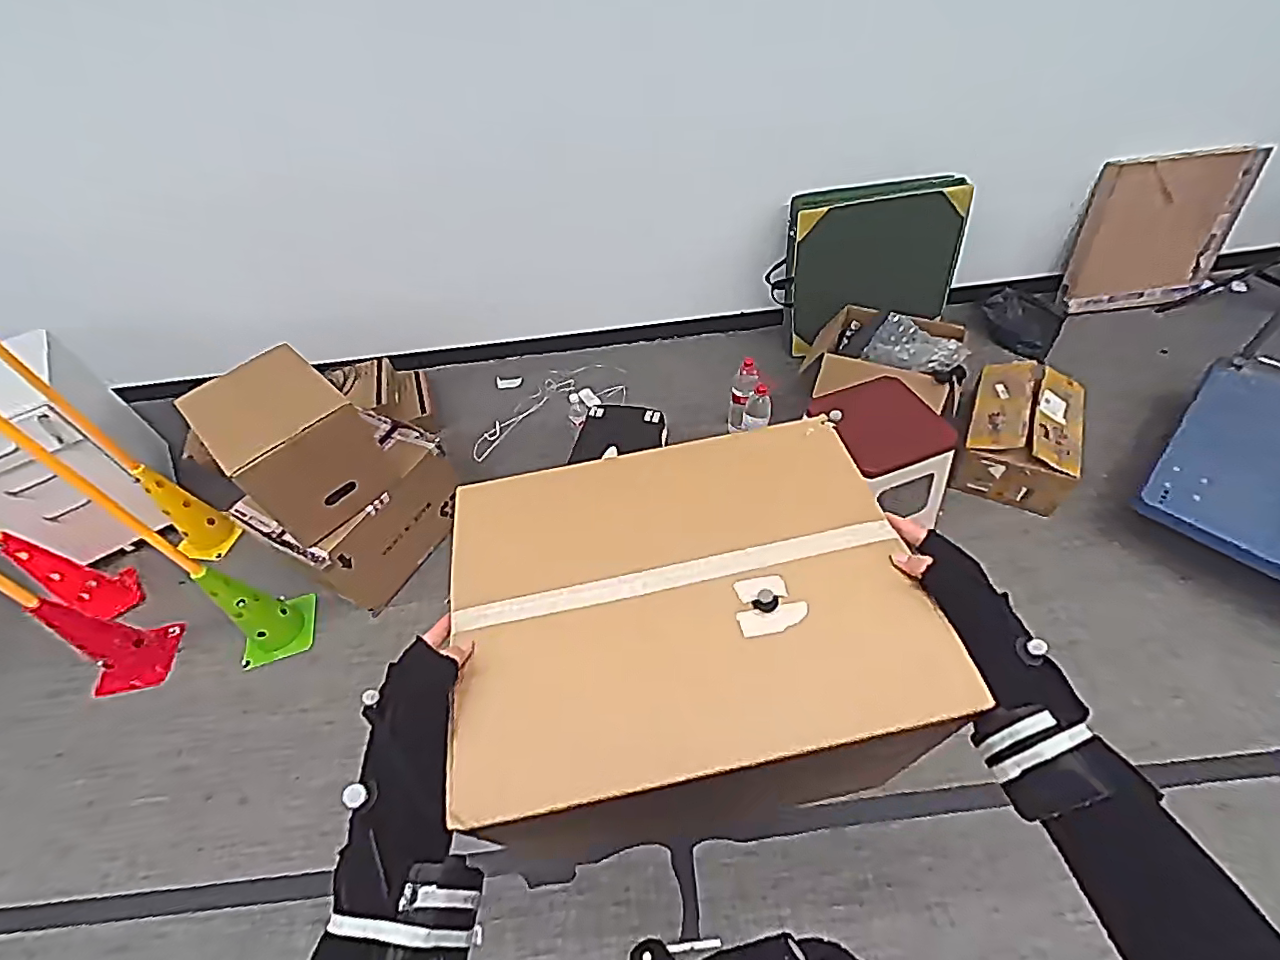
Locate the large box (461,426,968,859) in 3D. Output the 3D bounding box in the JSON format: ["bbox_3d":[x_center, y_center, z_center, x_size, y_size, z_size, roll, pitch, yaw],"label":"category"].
[{"bbox_3d":[0.045,0.187,0.612,0.408,0.320,0.320,-11,51,-3],"label":"large box"}]
